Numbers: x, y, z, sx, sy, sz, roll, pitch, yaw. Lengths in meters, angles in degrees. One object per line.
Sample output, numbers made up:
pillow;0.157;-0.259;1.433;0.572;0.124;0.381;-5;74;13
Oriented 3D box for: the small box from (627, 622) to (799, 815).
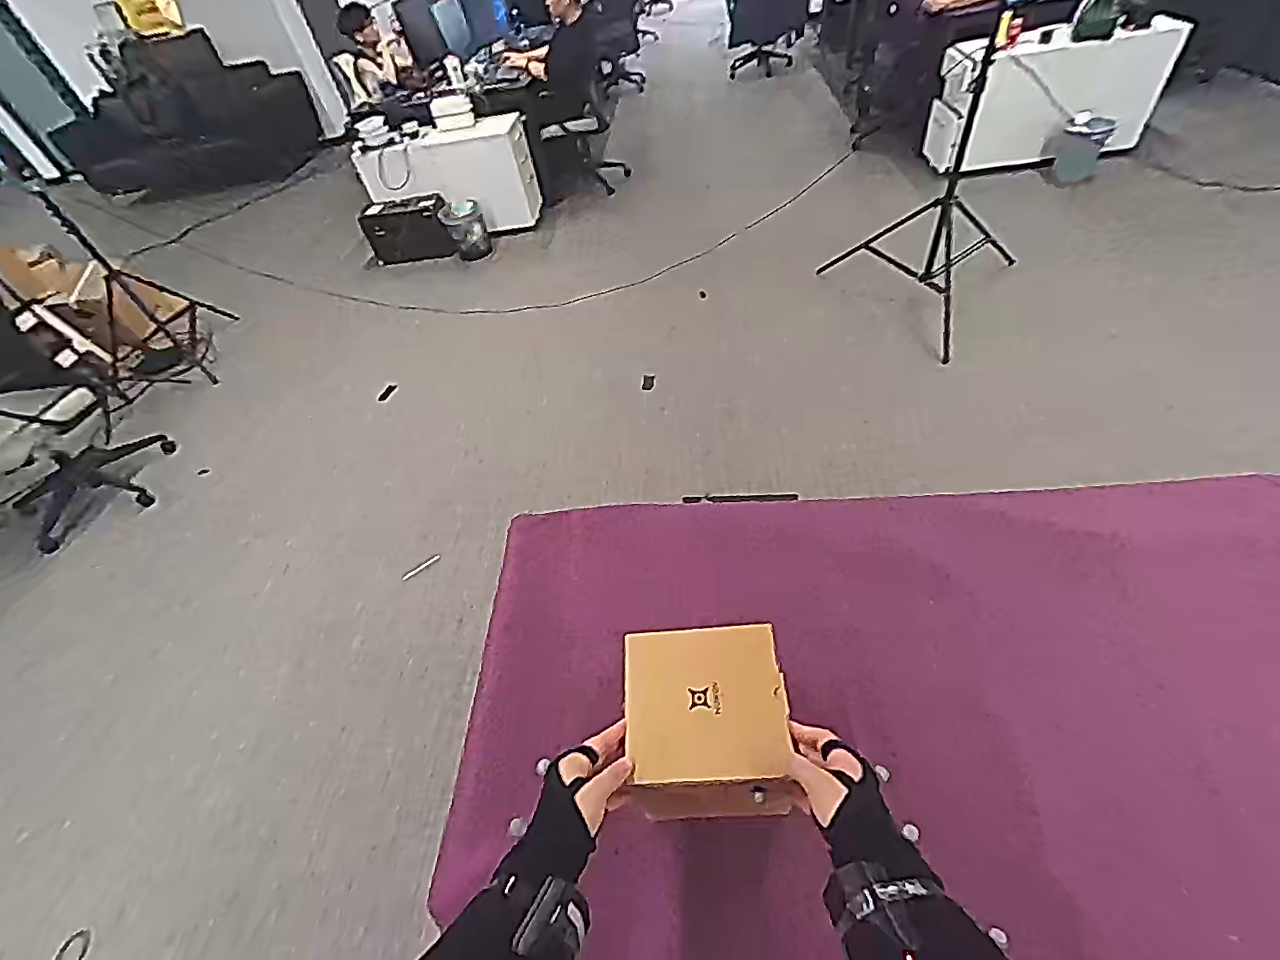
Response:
small box;0.084;0.291;0.651;0.179;0.176;0.168;-6;47;5
